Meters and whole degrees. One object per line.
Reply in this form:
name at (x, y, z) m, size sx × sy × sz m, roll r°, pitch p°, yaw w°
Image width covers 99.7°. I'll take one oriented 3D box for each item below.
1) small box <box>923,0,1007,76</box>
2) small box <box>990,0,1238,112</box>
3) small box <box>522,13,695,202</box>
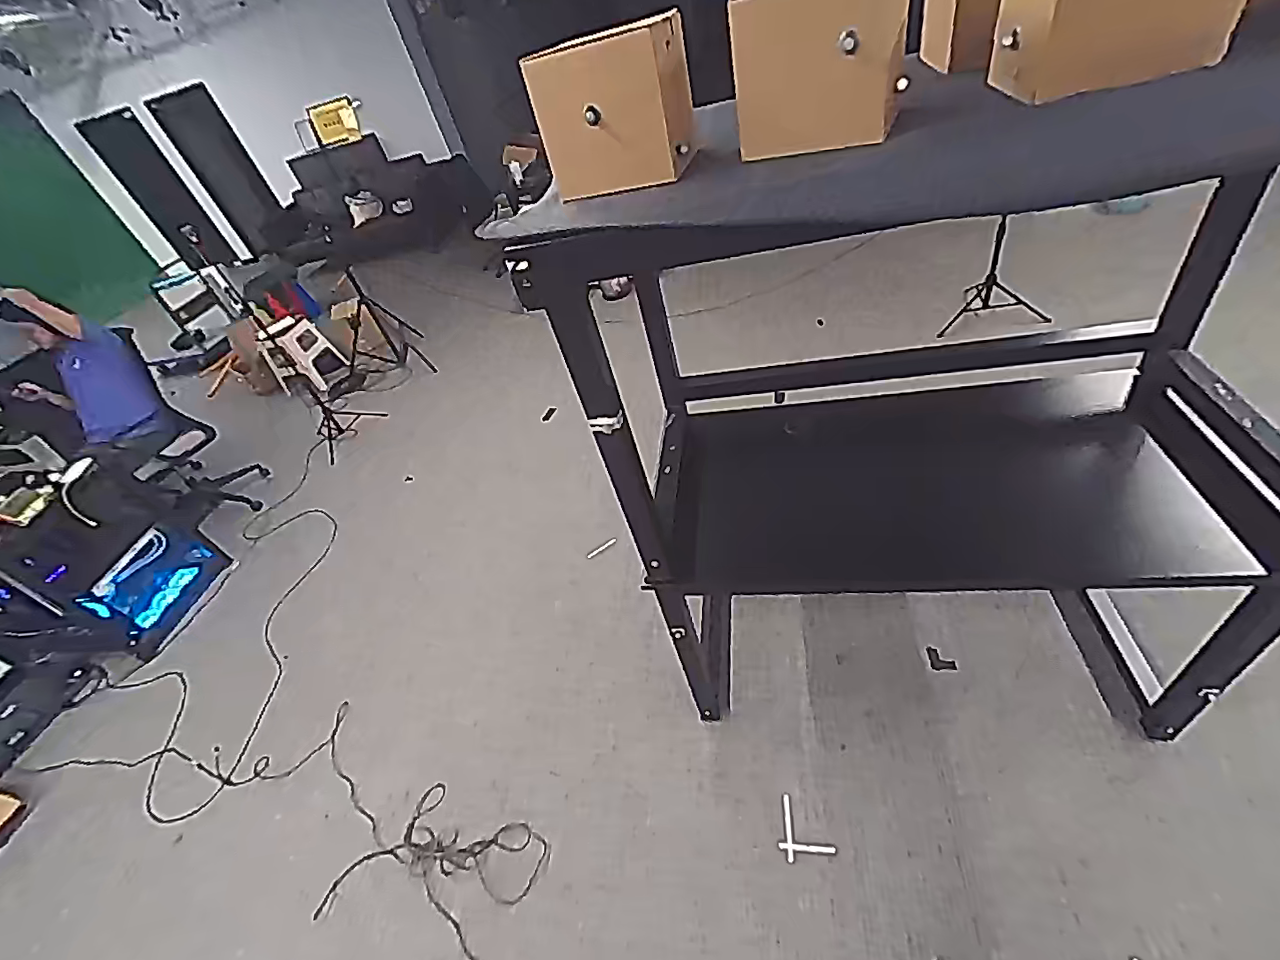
small box at (0.521, -0.710, 0.780) m, size 0.168 × 0.176 × 0.179 m, roll -5°, pitch 43°, yaw 16°
small box at (0.521, -0.538, 0.596) m, size 0.179 × 0.176 × 0.168 m, roll -5°, pitch 43°, yaw 15°
small box at (-0.029, -0.511, 0.751) m, size 0.179 × 0.176 × 0.168 m, roll 0°, pitch 43°, yaw 20°
